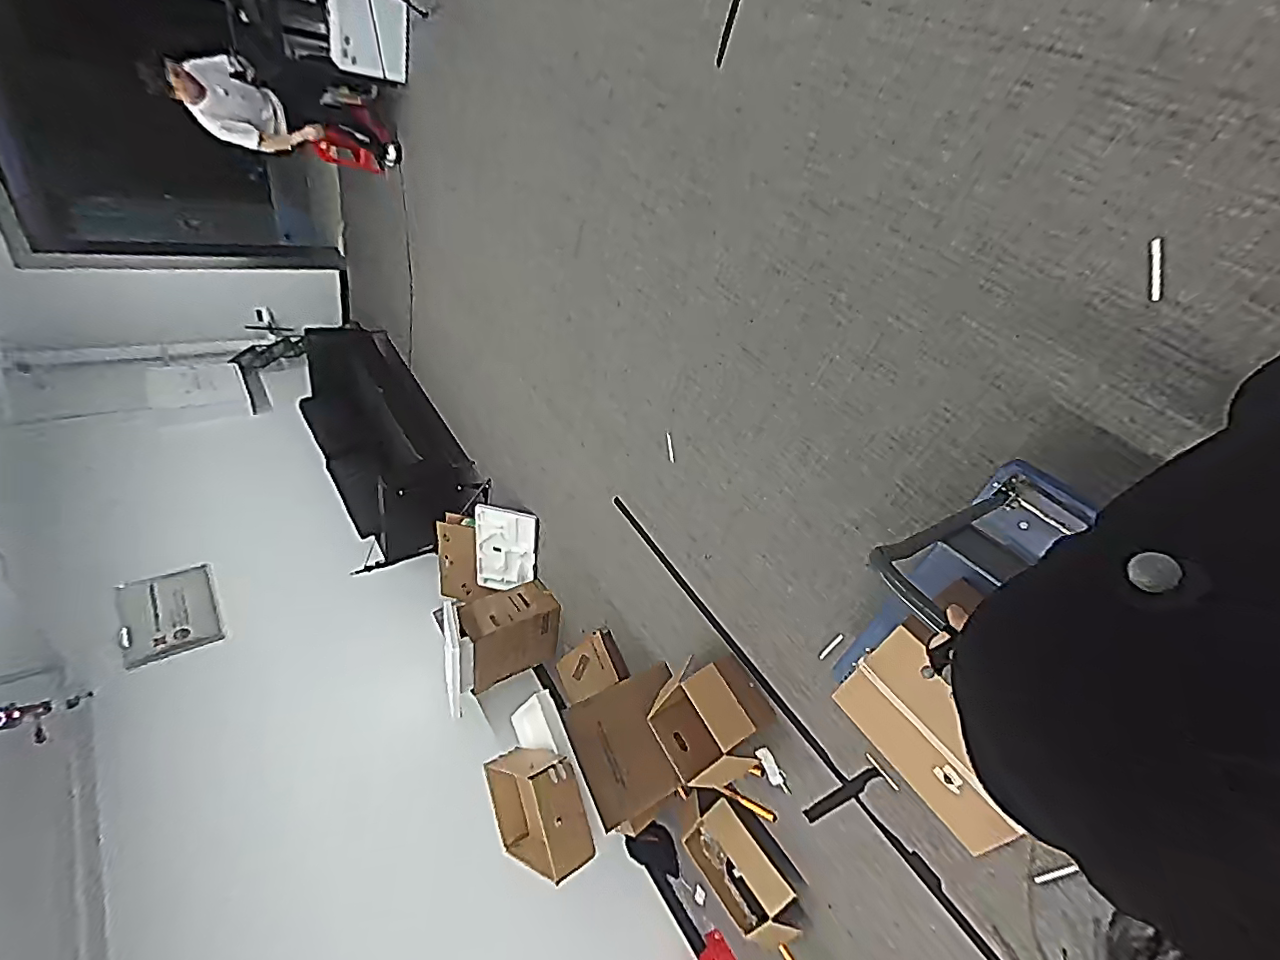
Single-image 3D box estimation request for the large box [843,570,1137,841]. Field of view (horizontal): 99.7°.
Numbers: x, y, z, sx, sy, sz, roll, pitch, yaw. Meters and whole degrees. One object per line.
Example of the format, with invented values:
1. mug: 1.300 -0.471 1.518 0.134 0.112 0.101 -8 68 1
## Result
1. large box: 0.761 0.479 1.216 0.408 0.320 0.320 47 136 31
